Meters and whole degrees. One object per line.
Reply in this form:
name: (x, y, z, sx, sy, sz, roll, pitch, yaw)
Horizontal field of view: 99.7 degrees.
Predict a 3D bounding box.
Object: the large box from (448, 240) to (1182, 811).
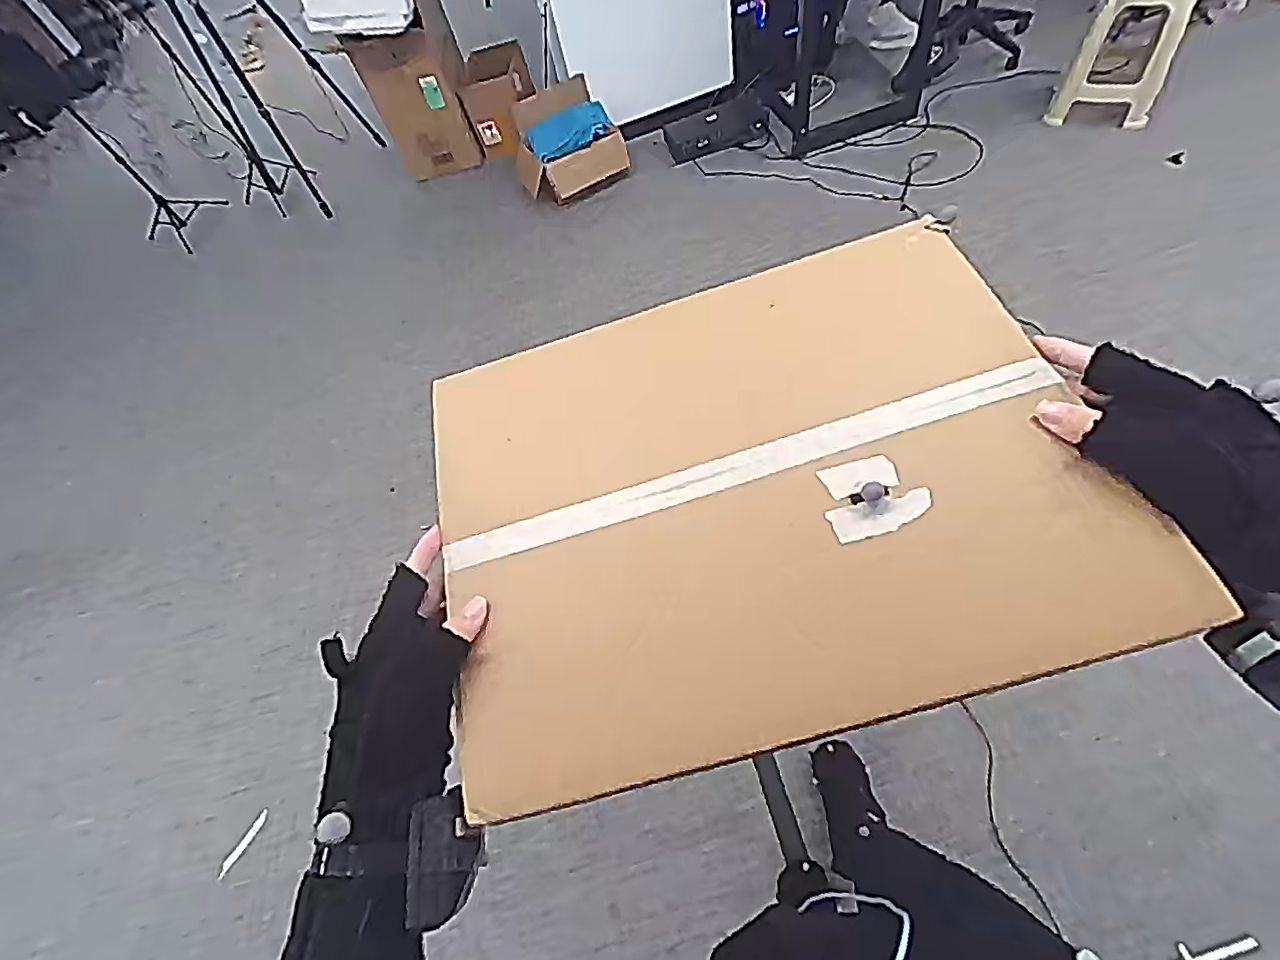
large box: (0.092, 0.064, 0.496, 0.408, 0.320, 0.320, -18, 62, 3)
